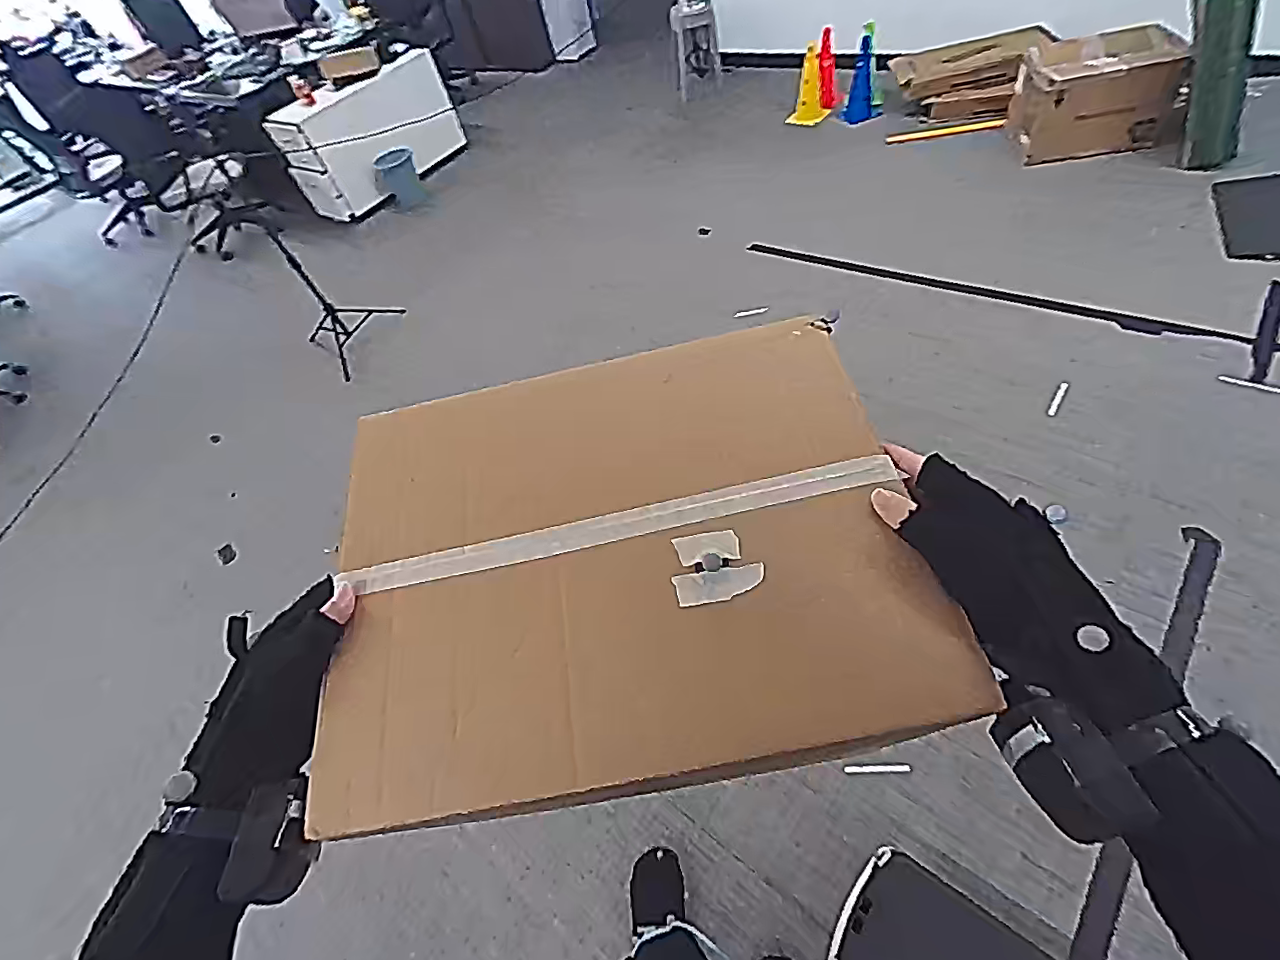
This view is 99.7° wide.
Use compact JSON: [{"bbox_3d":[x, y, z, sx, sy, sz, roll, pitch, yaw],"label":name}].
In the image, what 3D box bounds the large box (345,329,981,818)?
[{"bbox_3d":[0.006,0.111,0.528,0.408,0.320,0.320,-12,60,2],"label":"large box"}]
